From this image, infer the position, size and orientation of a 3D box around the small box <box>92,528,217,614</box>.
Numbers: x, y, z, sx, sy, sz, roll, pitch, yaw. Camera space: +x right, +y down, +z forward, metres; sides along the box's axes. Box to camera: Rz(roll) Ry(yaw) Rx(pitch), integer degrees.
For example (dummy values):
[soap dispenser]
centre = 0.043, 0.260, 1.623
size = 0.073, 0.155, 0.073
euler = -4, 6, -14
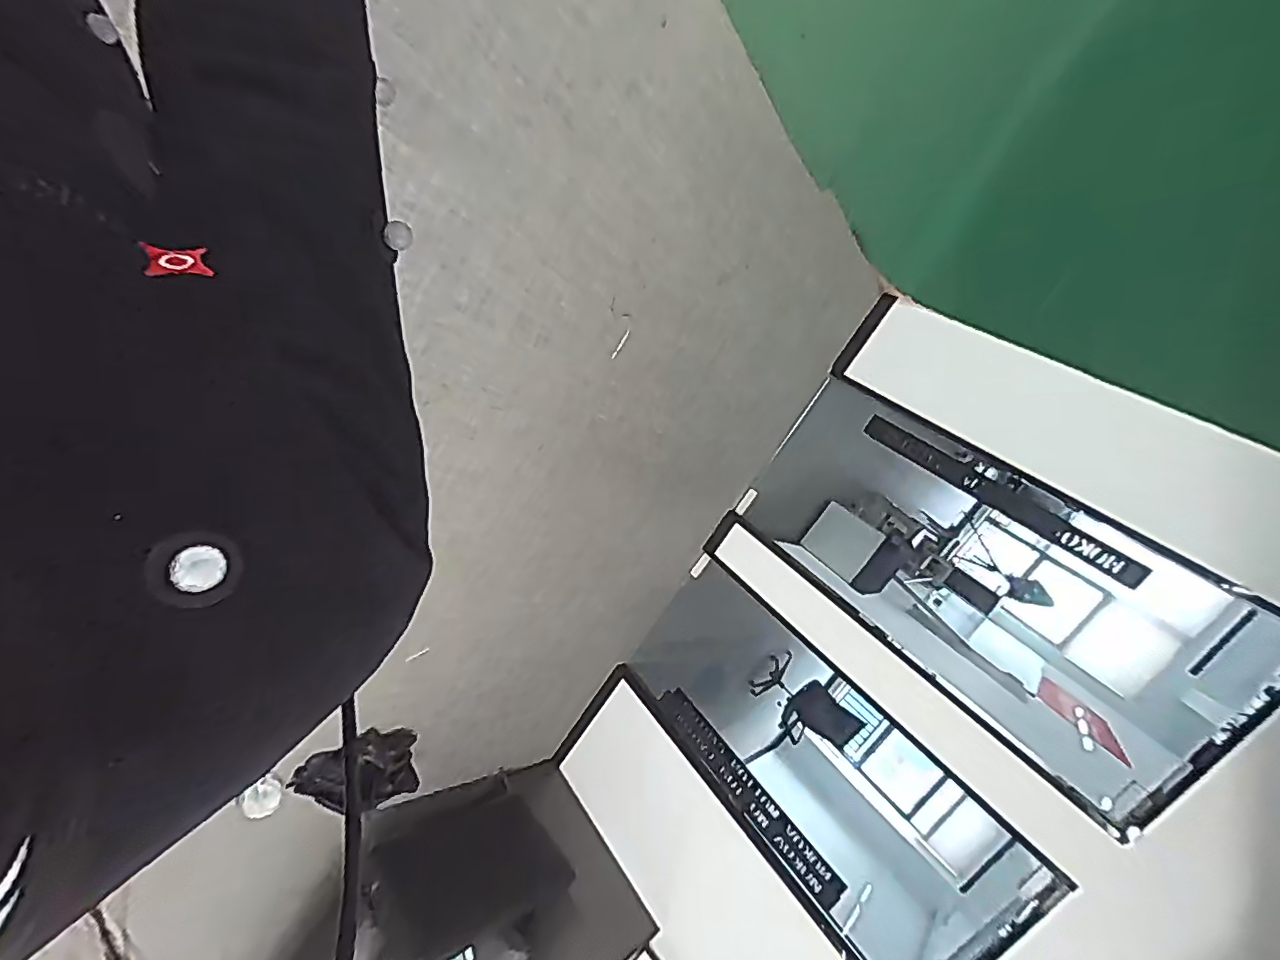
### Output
[small box]
centre = -1.134, 0.234, 1.257
size = 0.179, 0.176, 0.168
euler = -54, 146, 9
